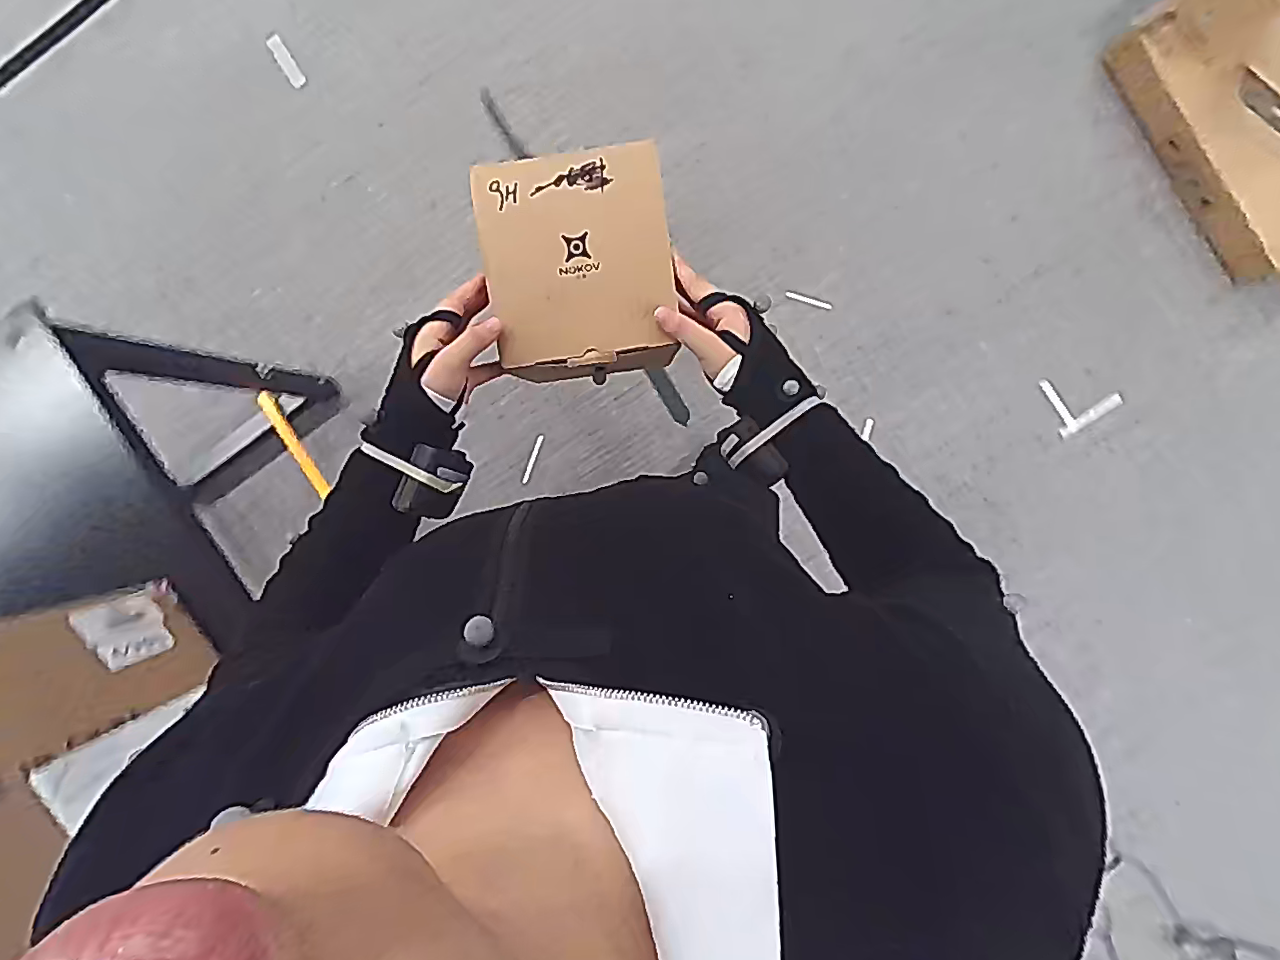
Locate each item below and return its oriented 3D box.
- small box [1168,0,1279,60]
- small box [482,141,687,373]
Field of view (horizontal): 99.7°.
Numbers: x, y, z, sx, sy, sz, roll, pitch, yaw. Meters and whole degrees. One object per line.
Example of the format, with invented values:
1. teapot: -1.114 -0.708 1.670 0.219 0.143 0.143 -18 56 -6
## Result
1. small box: 1.333 -1.084 1.176 0.179 0.176 0.168 -33 92 4
2. small box: -0.045 -0.206 0.552 0.168 0.176 0.179 -7 97 1
